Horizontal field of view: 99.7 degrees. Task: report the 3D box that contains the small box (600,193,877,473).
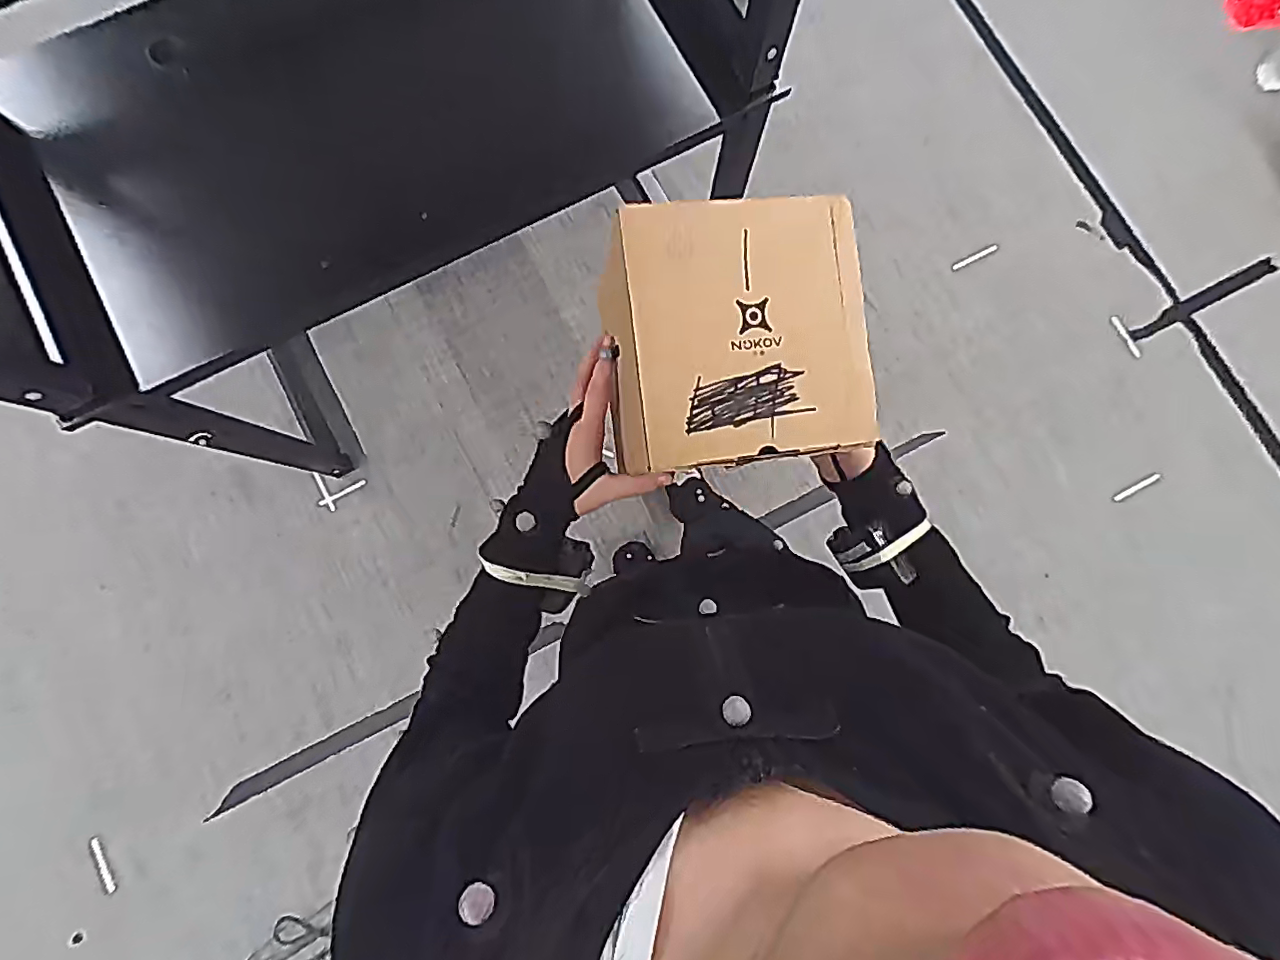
[{"bbox_3d":[0.062,-0.101,0.436,0.168,0.176,0.179,-7,91,-9],"label":"small box"}]
